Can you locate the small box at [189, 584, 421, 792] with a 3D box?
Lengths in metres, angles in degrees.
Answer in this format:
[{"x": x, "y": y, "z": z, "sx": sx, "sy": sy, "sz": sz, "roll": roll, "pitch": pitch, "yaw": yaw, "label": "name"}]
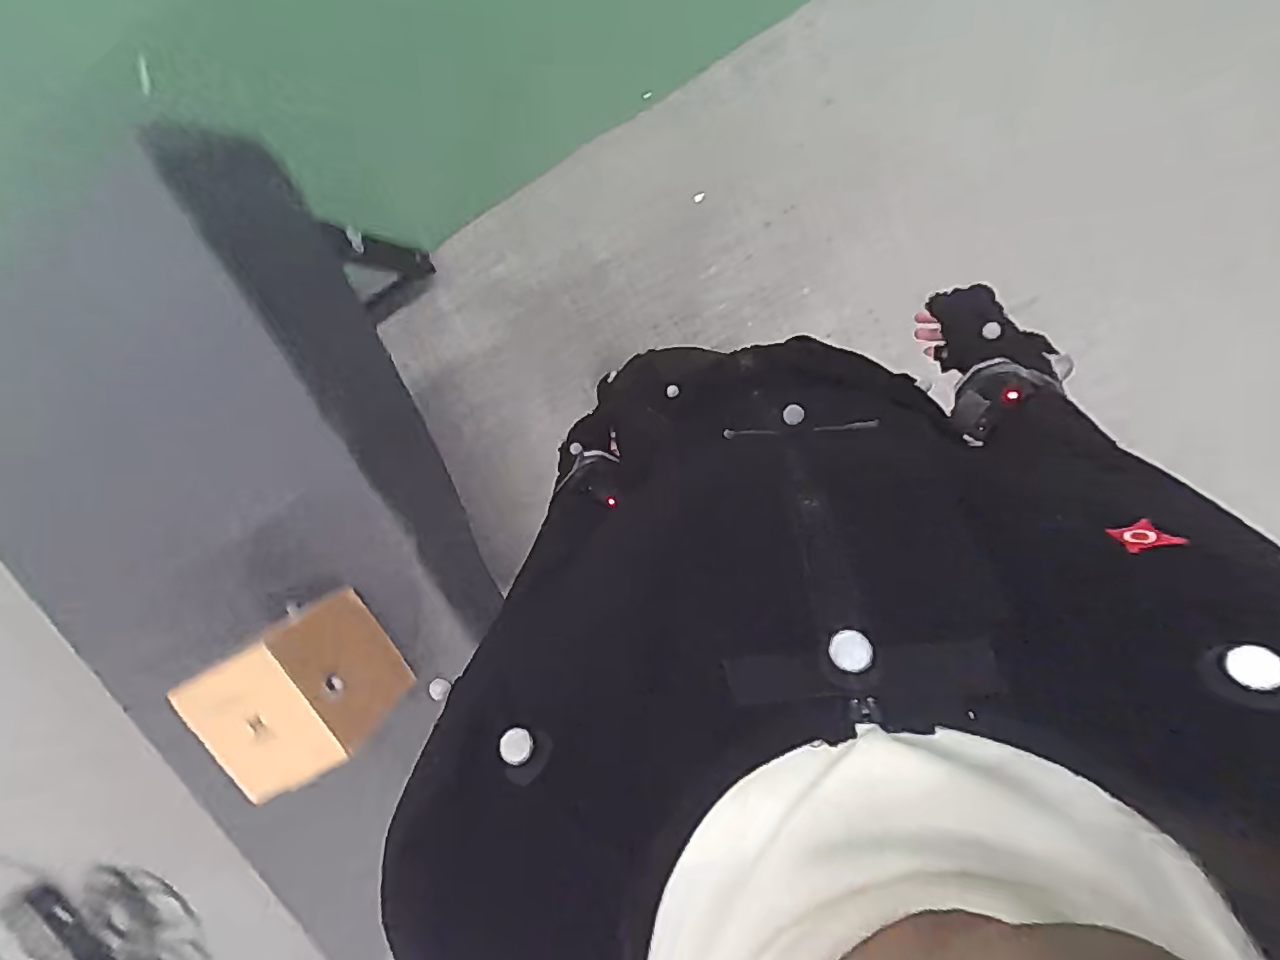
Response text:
[{"x": -0.443, "y": 0.276, "z": 0.747, "sx": 0.168, "sy": 0.176, "sz": 0.179, "roll": -29, "pitch": 98, "yaw": 12, "label": "small box"}]
